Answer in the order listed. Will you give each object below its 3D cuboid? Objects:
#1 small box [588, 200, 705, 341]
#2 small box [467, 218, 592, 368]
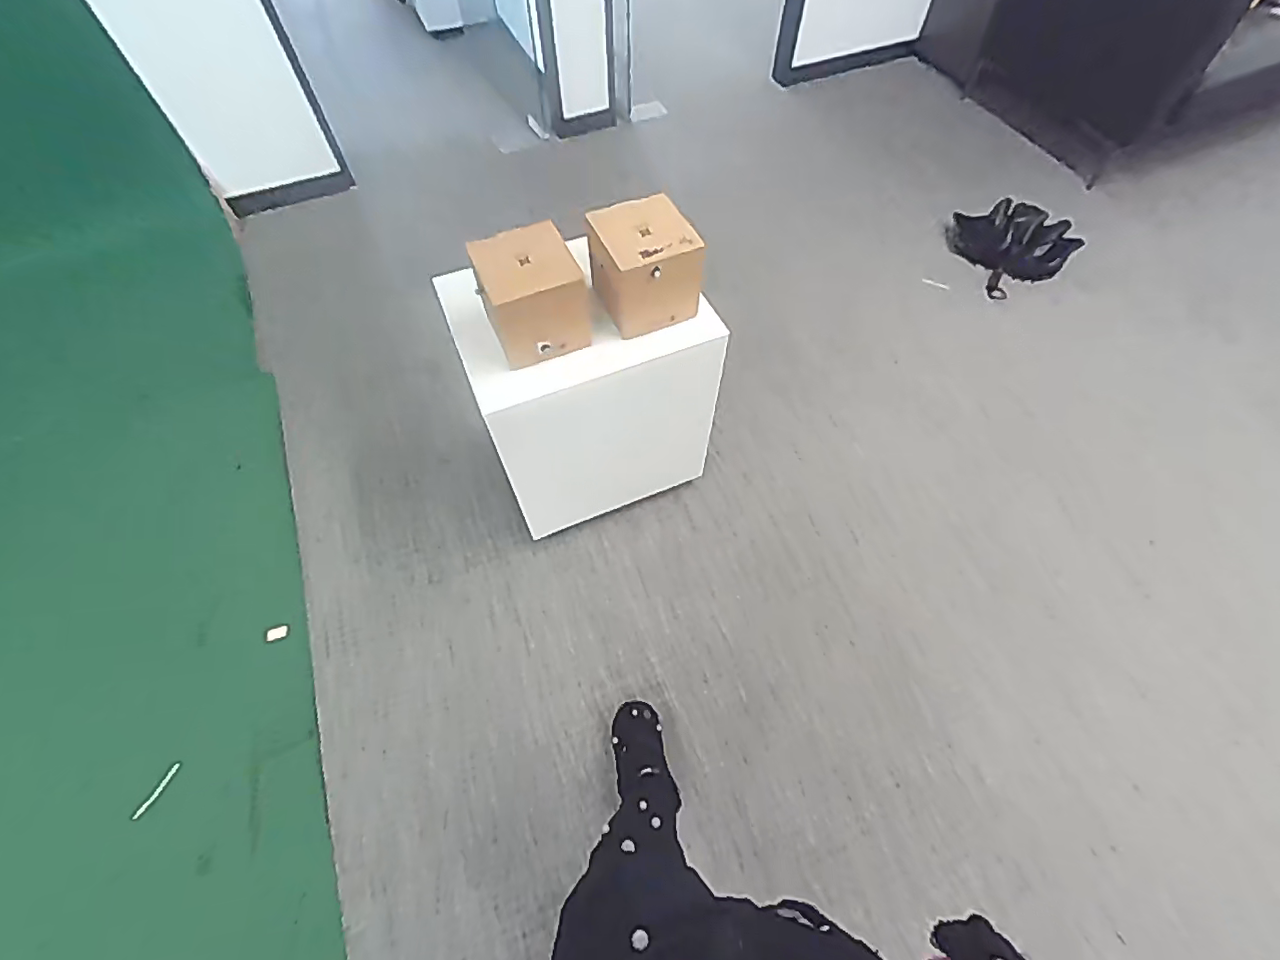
[{"bbox_3d":[0.008,-0.404,1.050,0.168,0.176,0.179,-21,61,-12],"label":"small box"},{"bbox_3d":[-0.198,-0.341,1.000,0.168,0.176,0.179,-23,64,-12],"label":"small box"}]
